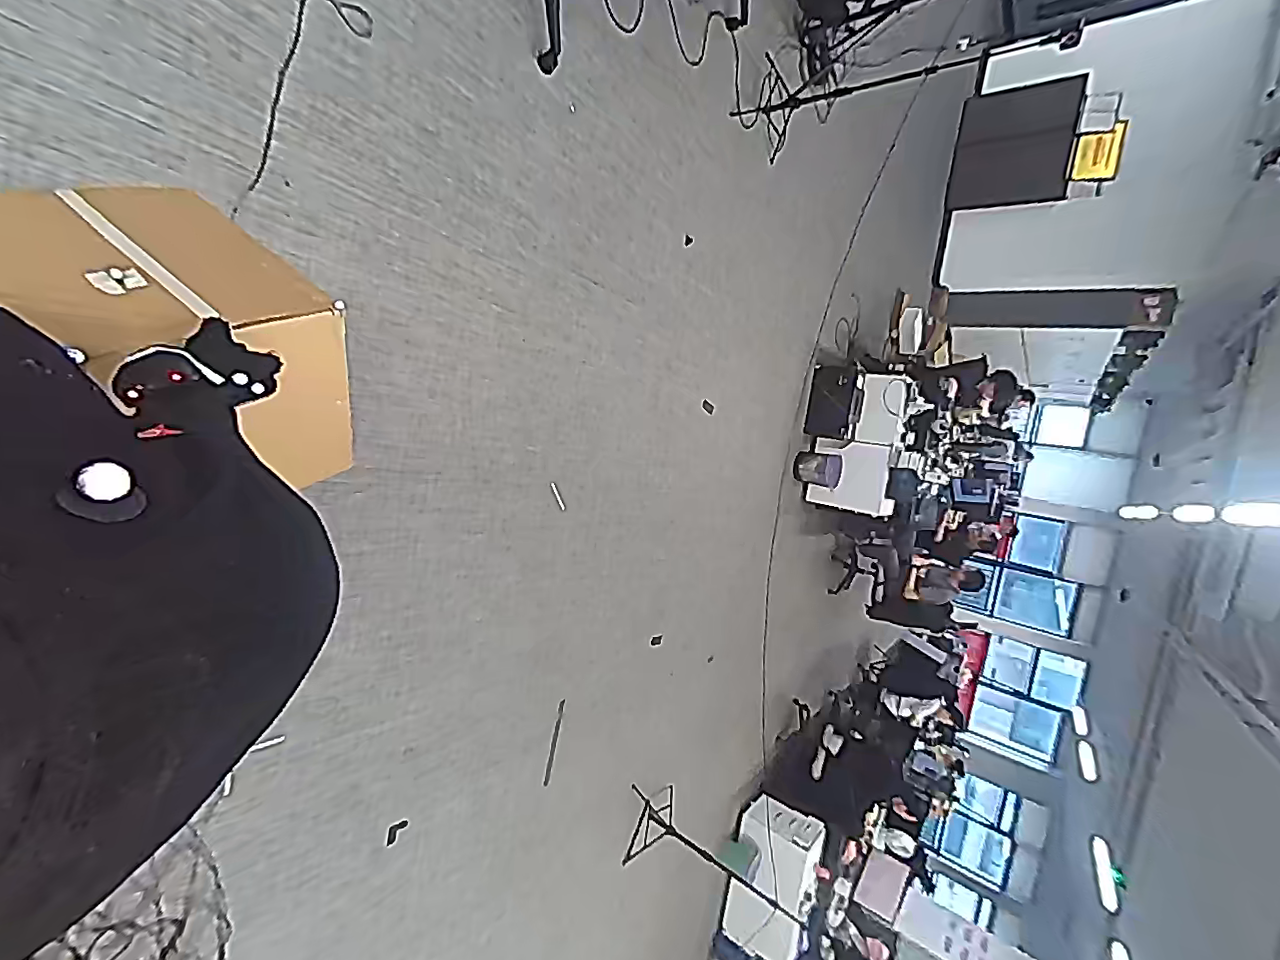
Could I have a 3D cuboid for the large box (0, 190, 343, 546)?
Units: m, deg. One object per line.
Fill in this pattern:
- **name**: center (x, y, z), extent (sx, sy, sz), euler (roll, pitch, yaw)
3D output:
- **large box**: center (-0.711, -0.183, 0.804), extent (0.320, 0.408, 0.320), euler (-38, 159, -45)
